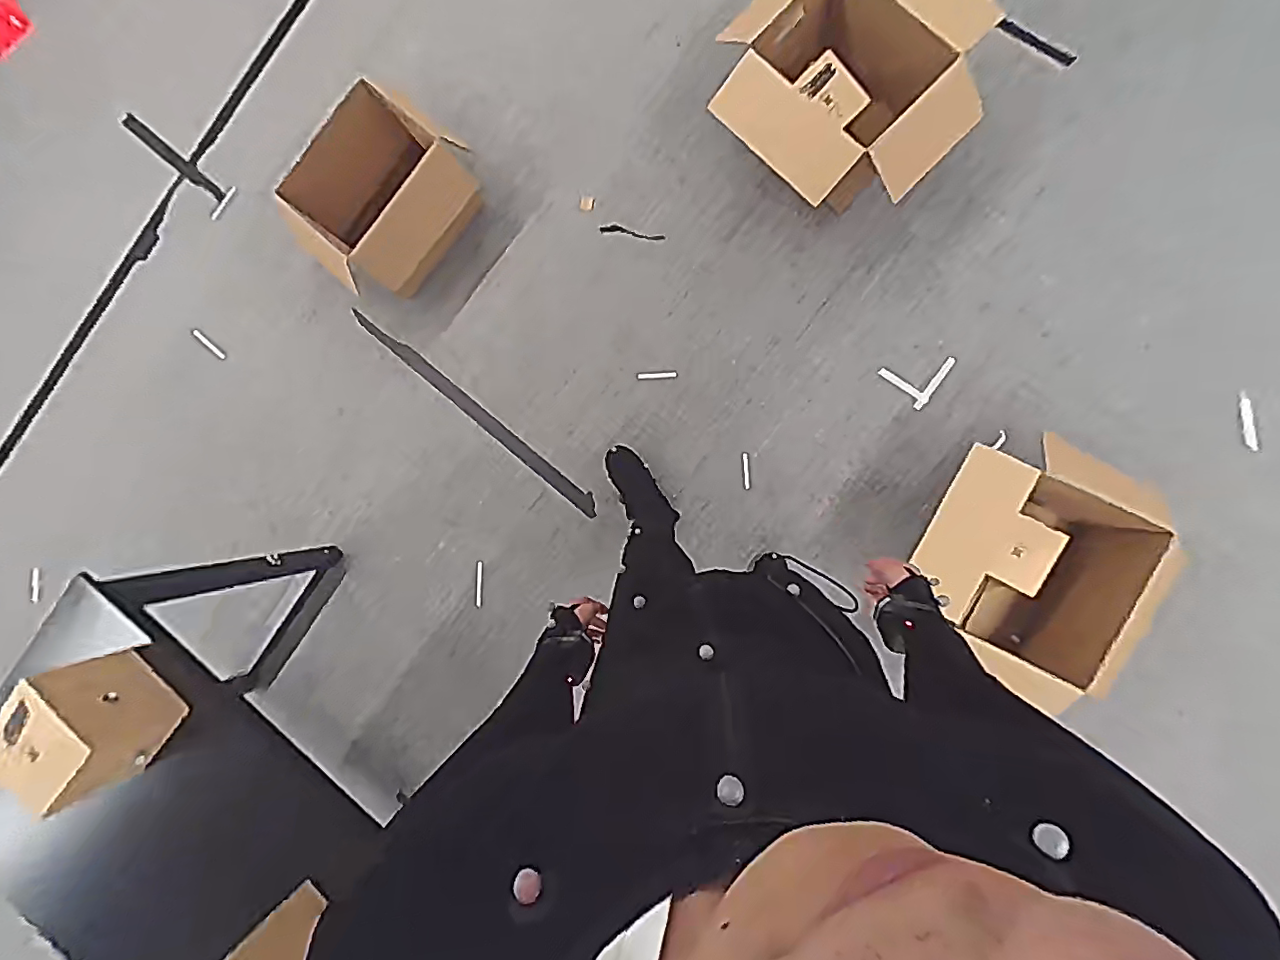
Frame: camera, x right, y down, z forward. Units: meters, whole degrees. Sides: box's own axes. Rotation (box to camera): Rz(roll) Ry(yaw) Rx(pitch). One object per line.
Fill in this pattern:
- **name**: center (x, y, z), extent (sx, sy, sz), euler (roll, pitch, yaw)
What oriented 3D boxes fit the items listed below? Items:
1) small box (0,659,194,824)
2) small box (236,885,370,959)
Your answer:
- **small box**: center (-0.960, 0.442, 0.954), extent (0.179, 0.176, 0.168), euler (40, 95, 6)
- **small box**: center (-0.596, 0.842, 0.896), extent (0.168, 0.176, 0.179), euler (43, 95, 6)
